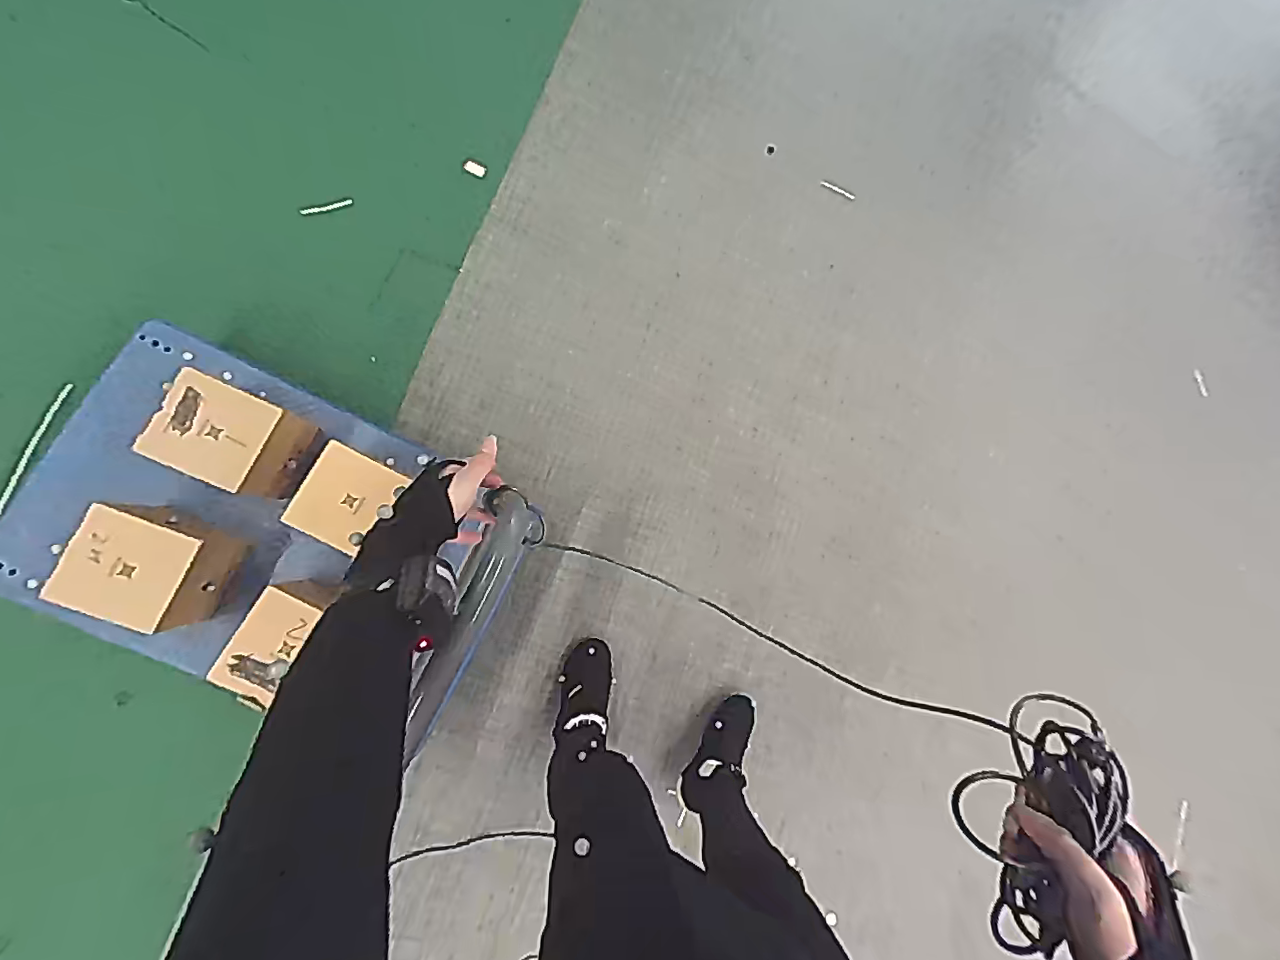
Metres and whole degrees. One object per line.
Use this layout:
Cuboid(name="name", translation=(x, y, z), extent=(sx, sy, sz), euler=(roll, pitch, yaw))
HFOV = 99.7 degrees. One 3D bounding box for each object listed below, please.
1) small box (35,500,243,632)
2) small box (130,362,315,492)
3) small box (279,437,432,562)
Cuboid(name="small box", translation=(-0.852, 0.145, 0.946), extent=(0.179, 0.176, 0.168), euler=(24, 80, -9))
Cuboid(name="small box", translation=(-0.745, -0.084, 0.990), extent=(0.179, 0.176, 0.168), euler=(26, 81, -9))
Cuboid(name="small box", translation=(-0.524, 0.042, 1.026), extent=(0.179, 0.176, 0.168), euler=(29, 80, -9))
